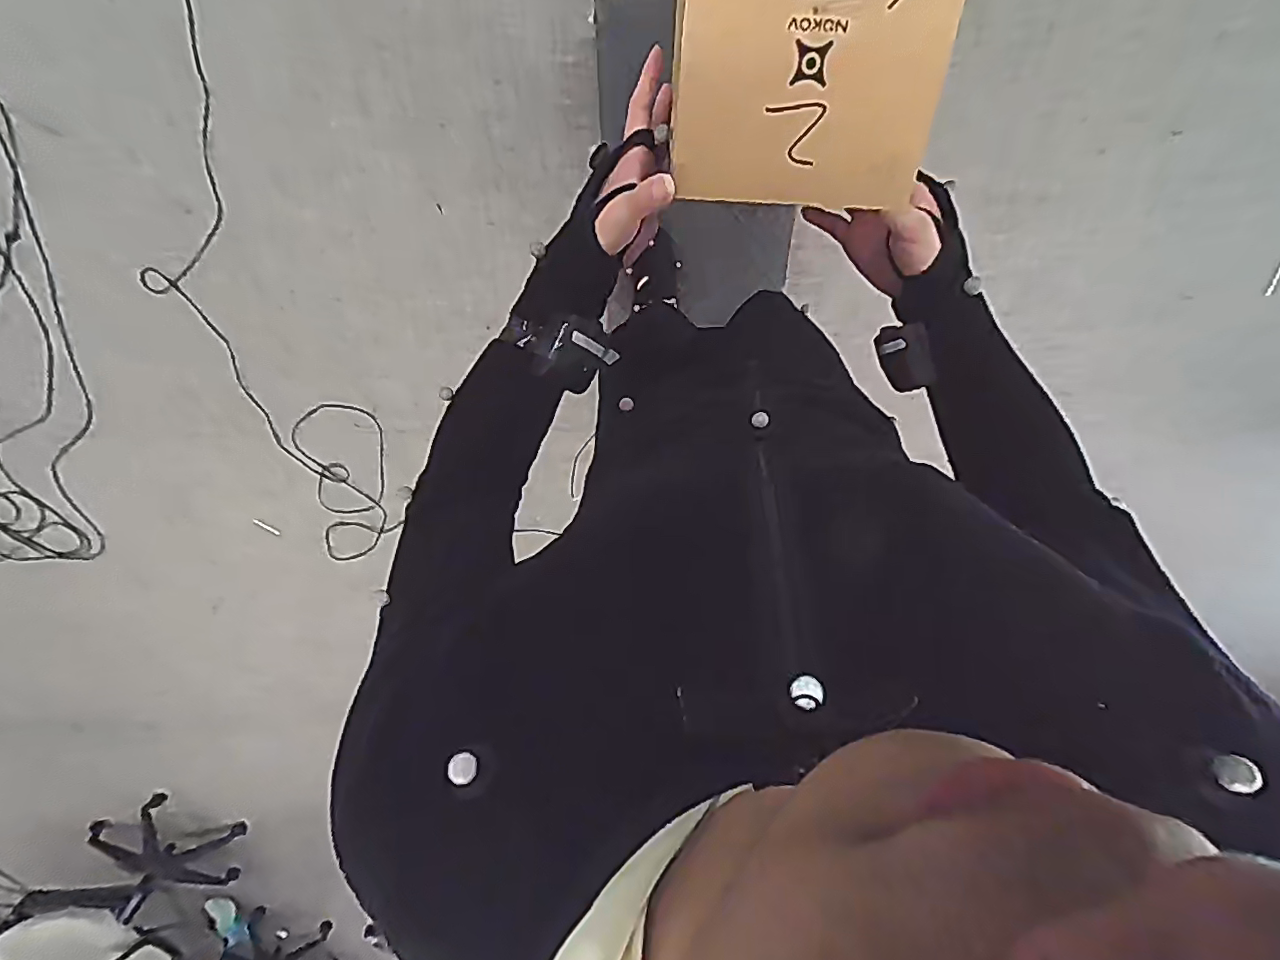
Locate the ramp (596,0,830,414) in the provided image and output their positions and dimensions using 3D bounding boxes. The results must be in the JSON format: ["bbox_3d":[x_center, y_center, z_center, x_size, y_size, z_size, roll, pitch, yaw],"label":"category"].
[{"bbox_3d":[0.161,-0.616,1.395,0.509,0.206,0.991,-4,117,-1],"label":"ramp"}]
